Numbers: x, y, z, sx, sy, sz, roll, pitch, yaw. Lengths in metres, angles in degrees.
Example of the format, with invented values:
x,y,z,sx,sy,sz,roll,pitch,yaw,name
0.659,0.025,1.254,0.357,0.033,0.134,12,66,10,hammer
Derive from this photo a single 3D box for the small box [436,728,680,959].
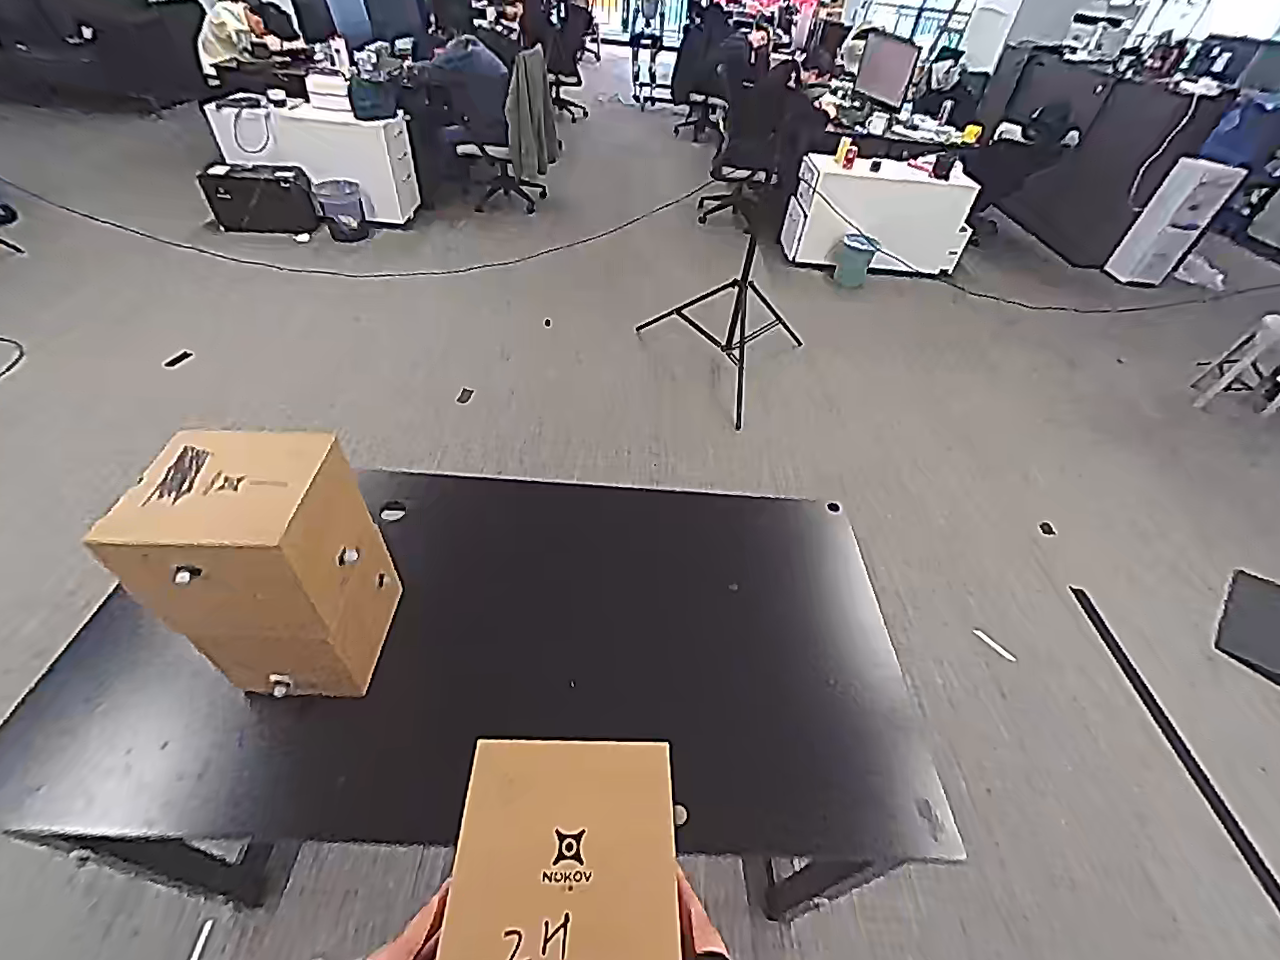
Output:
x,y,z,sx,sy,sz,roll,pitch,yaw,name
-0.062,0.337,0.463,0.168,0.176,0.179,2,42,-4,small box

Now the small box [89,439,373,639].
x,y,z,sx,sy,sz,roll,pitch,yaw,name
-0.439,0.070,0.622,0.179,0.176,0.168,1,44,-5,small box

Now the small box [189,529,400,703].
x,y,z,sx,sy,sz,roll,pitch,yaw,name
-0.449,0.183,0.742,0.168,0.176,0.179,2,45,-3,small box
